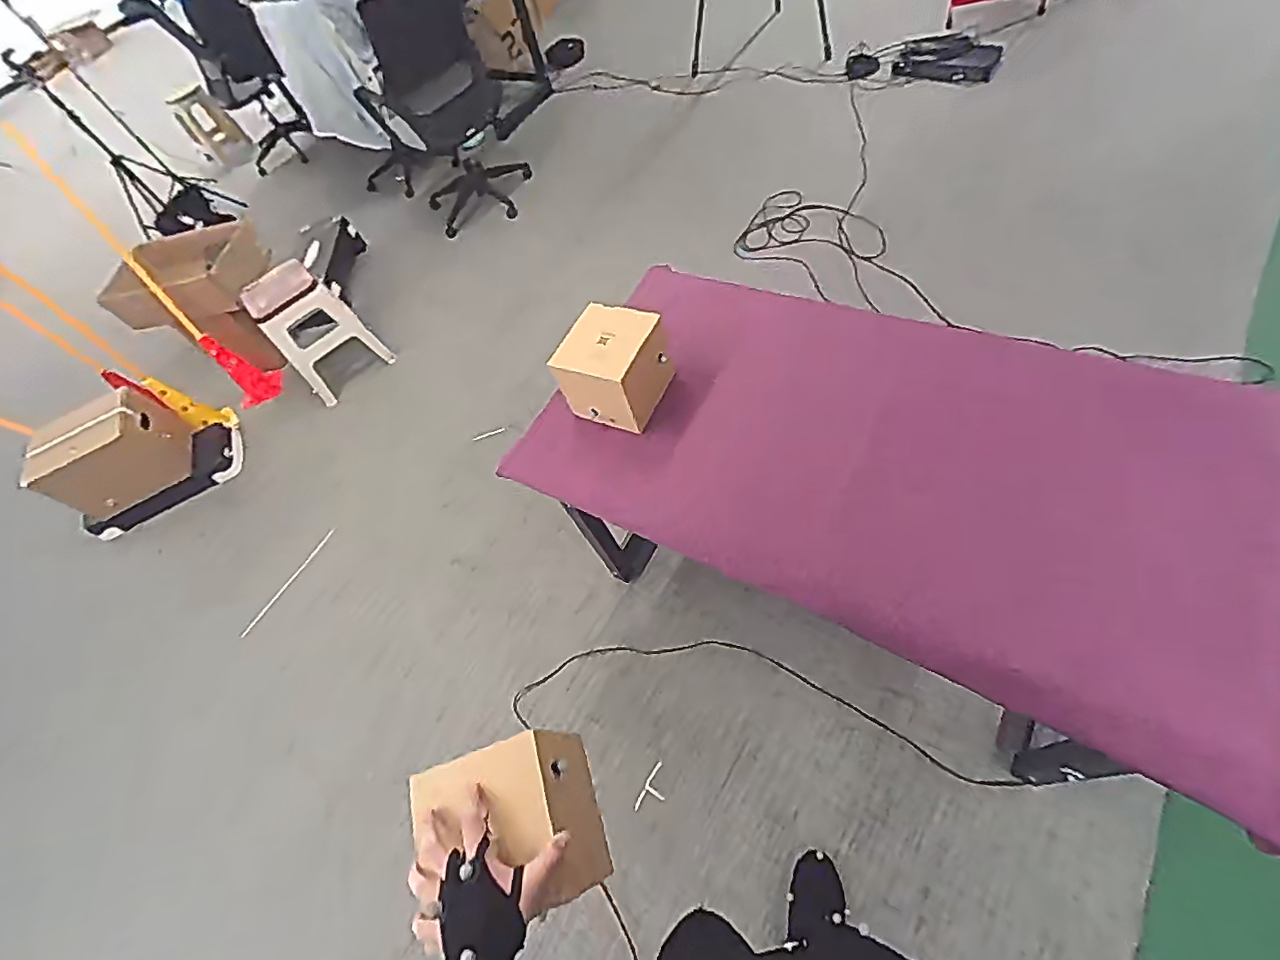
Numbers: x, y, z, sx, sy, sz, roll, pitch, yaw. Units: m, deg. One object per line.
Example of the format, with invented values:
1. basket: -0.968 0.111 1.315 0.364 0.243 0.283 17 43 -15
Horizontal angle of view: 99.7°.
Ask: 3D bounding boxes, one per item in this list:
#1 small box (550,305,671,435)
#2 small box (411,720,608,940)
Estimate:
1. small box: -0.049 -0.220 1.092 0.168 0.176 0.179 18 66 25
2. small box: -0.156 0.416 0.668 0.168 0.176 0.179 -22 61 5
